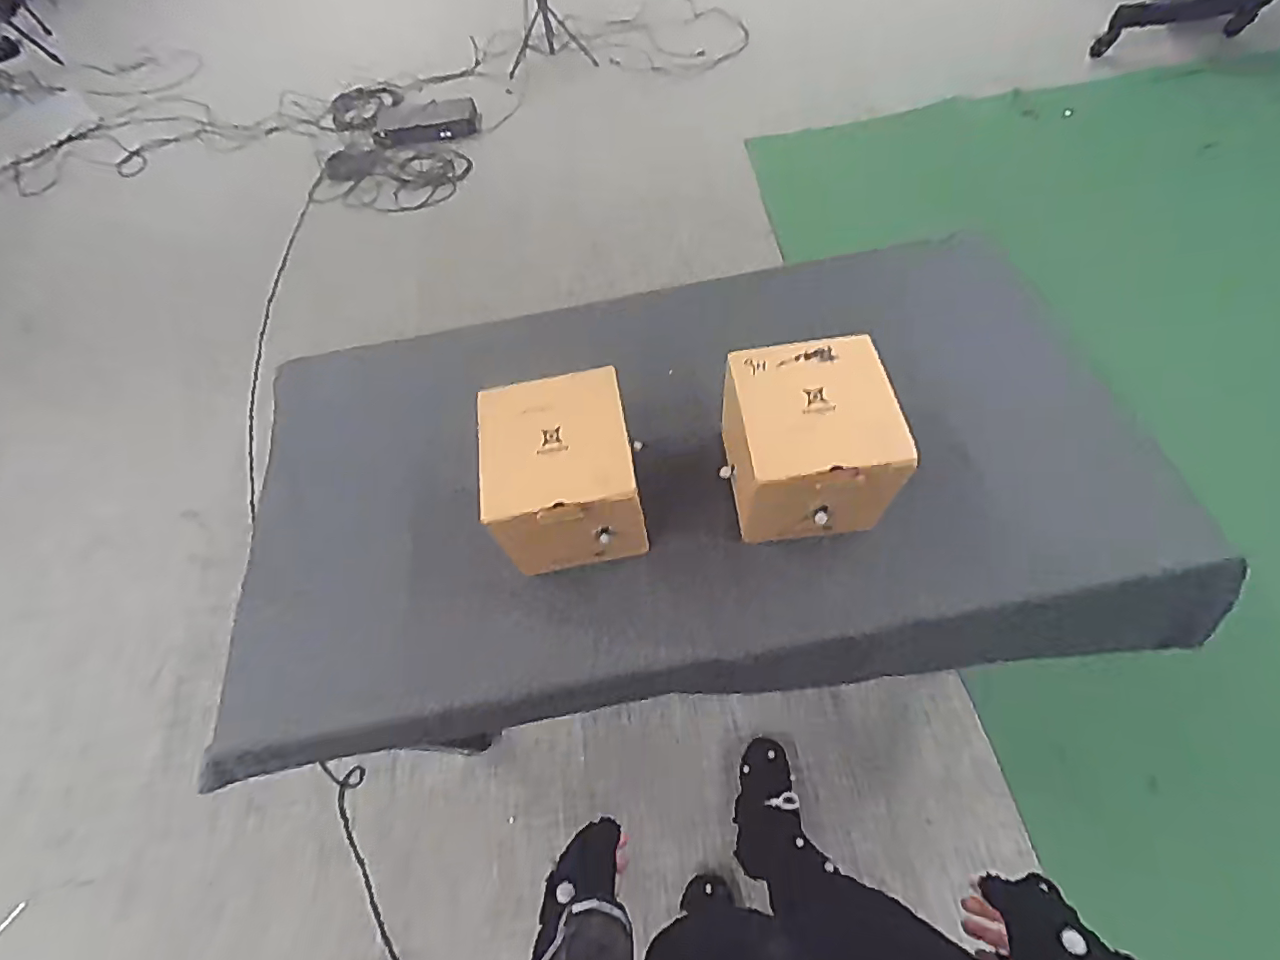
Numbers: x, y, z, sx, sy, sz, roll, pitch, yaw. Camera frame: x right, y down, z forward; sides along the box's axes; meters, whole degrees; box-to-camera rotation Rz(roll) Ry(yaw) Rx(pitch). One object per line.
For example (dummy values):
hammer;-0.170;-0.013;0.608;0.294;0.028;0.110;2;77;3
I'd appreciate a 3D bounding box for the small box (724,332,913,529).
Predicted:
small box;0.200;-0.049;0.663;0.168;0.176;0.179;-7;62;2

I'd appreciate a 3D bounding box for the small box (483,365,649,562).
small box;-0.086;-0.010;0.674;0.168;0.176;0.179;-11;60;-1
